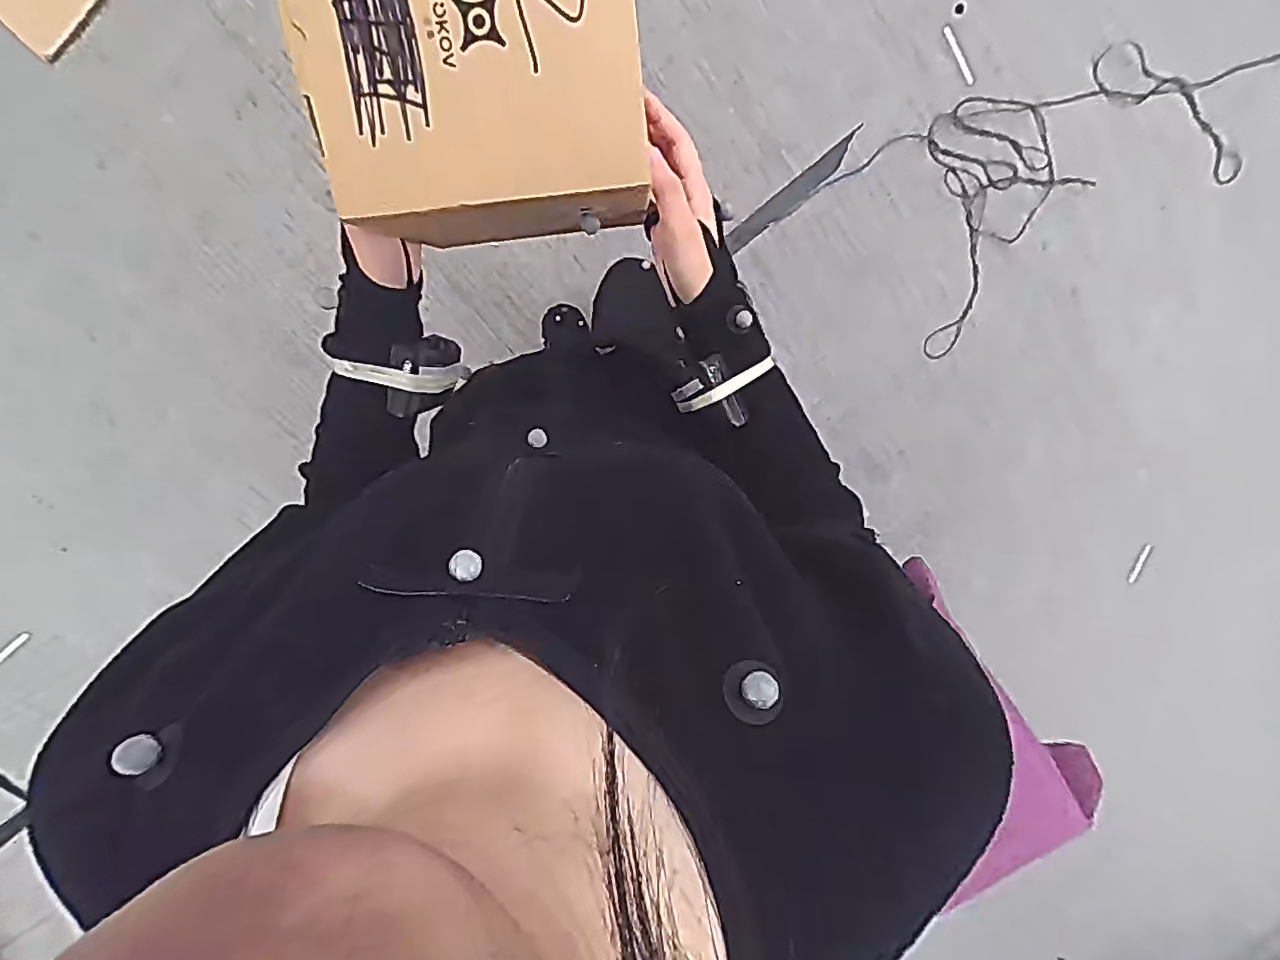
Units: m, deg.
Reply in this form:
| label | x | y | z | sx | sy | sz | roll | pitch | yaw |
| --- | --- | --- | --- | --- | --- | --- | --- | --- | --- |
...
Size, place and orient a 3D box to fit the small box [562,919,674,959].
| label | x | y | z | sx | sy | sz | roll | pitch | yaw |
| --- | --- | --- | --- | --- | --- | --- | --- | --- | --- |
| small box | -0.031 | 0.942 | 0.961 | 0.168 | 0.176 | 0.179 | -36 | 107 | 6 |
